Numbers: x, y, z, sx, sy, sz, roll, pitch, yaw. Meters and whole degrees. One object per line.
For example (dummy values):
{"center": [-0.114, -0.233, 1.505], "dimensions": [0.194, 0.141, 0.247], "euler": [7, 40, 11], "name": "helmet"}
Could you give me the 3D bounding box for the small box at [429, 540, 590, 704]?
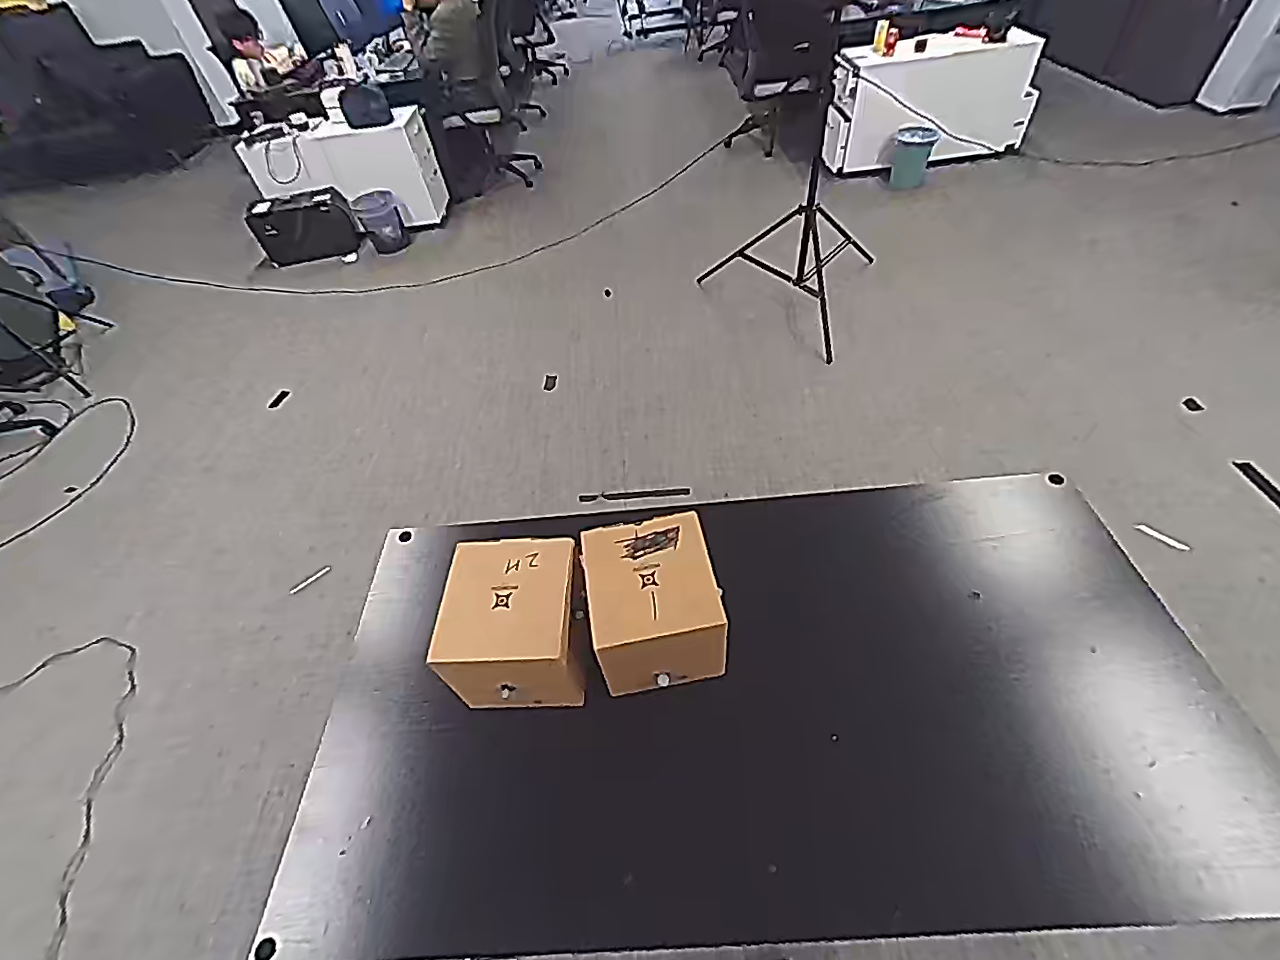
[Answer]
{"center": [-0.167, 0.206, 0.763], "dimensions": [0.168, 0.176, 0.179], "euler": [-3, 48, 4], "name": "small box"}
